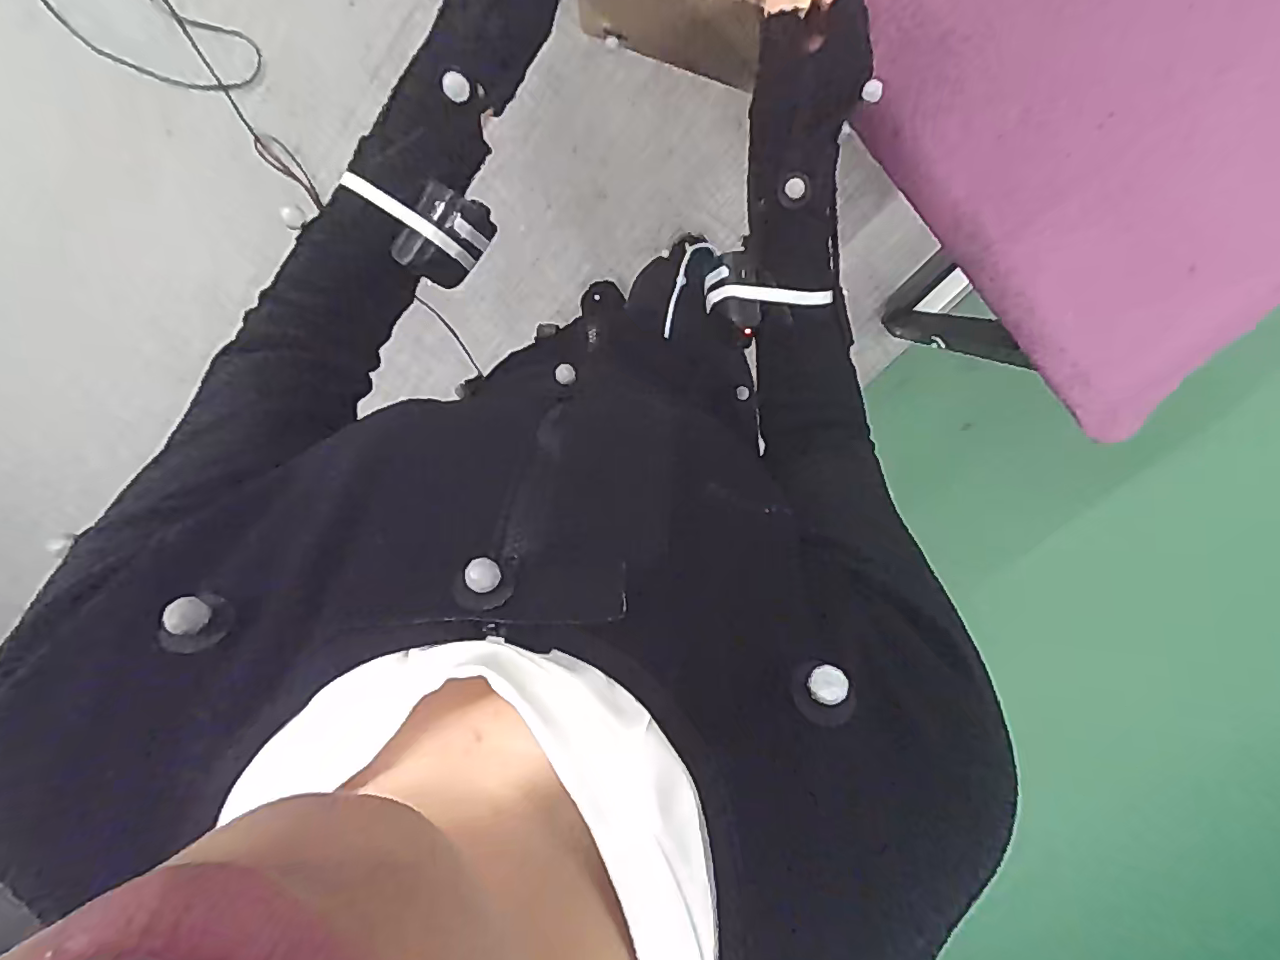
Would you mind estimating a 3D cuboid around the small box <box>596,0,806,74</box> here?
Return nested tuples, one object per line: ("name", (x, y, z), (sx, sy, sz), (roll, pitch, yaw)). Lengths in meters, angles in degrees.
("small box", (0.057, -0.435, 0.387), (0.168, 0.176, 0.179), (15, 110, -7))
